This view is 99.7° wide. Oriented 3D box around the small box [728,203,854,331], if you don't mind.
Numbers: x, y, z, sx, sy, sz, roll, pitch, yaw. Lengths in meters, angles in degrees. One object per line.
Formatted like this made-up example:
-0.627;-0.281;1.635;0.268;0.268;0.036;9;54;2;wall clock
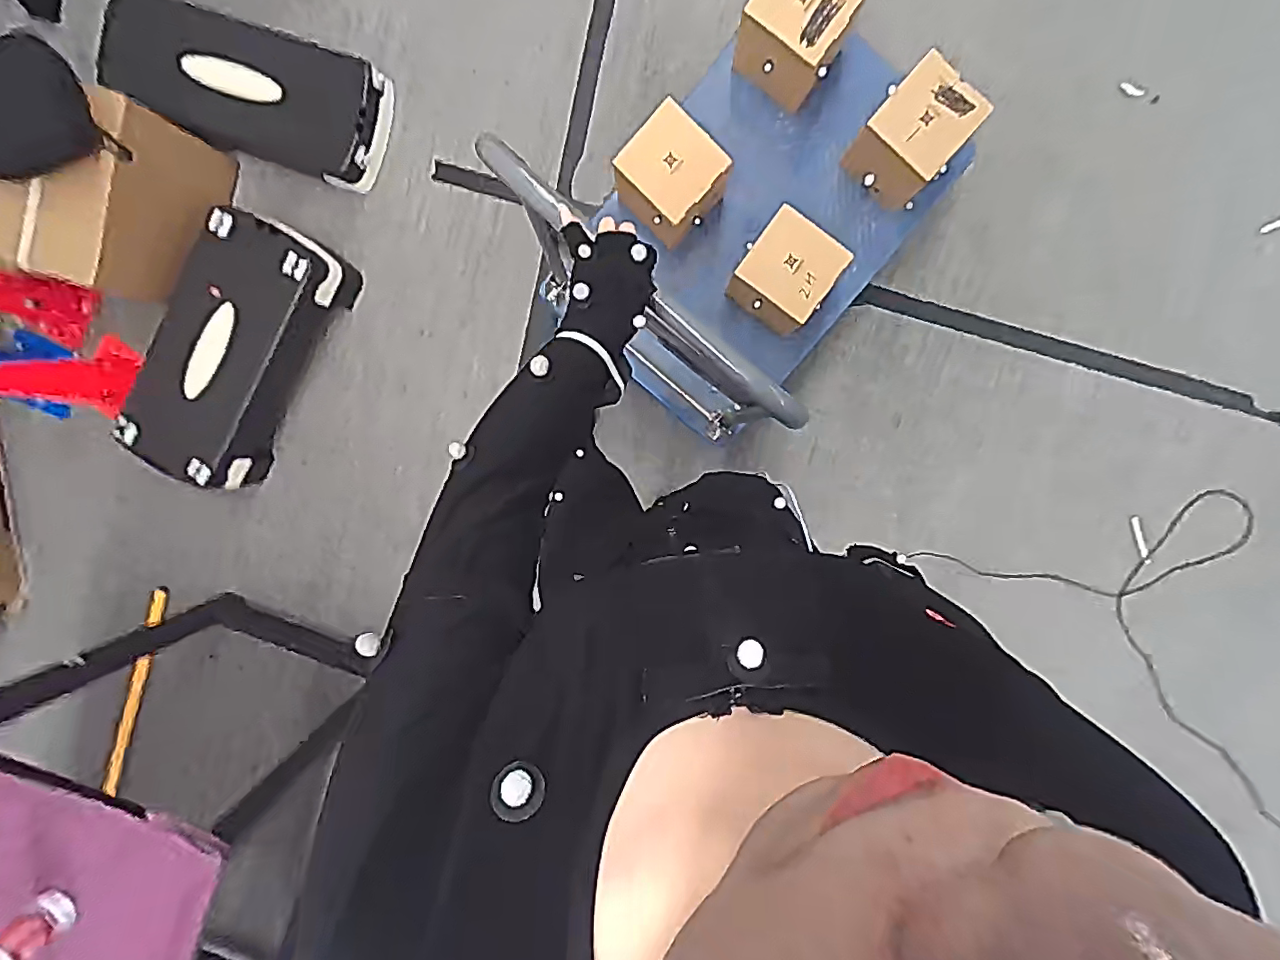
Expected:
0.306;-0.435;1.143;0.179;0.176;0.168;36;97;-2;small box

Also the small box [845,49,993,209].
0.554;-0.700;1.102;0.168;0.176;0.179;42;98;-3;small box

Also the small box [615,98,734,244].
0.067;-0.629;1.128;0.179;0.176;0.168;43;96;-4;small box
